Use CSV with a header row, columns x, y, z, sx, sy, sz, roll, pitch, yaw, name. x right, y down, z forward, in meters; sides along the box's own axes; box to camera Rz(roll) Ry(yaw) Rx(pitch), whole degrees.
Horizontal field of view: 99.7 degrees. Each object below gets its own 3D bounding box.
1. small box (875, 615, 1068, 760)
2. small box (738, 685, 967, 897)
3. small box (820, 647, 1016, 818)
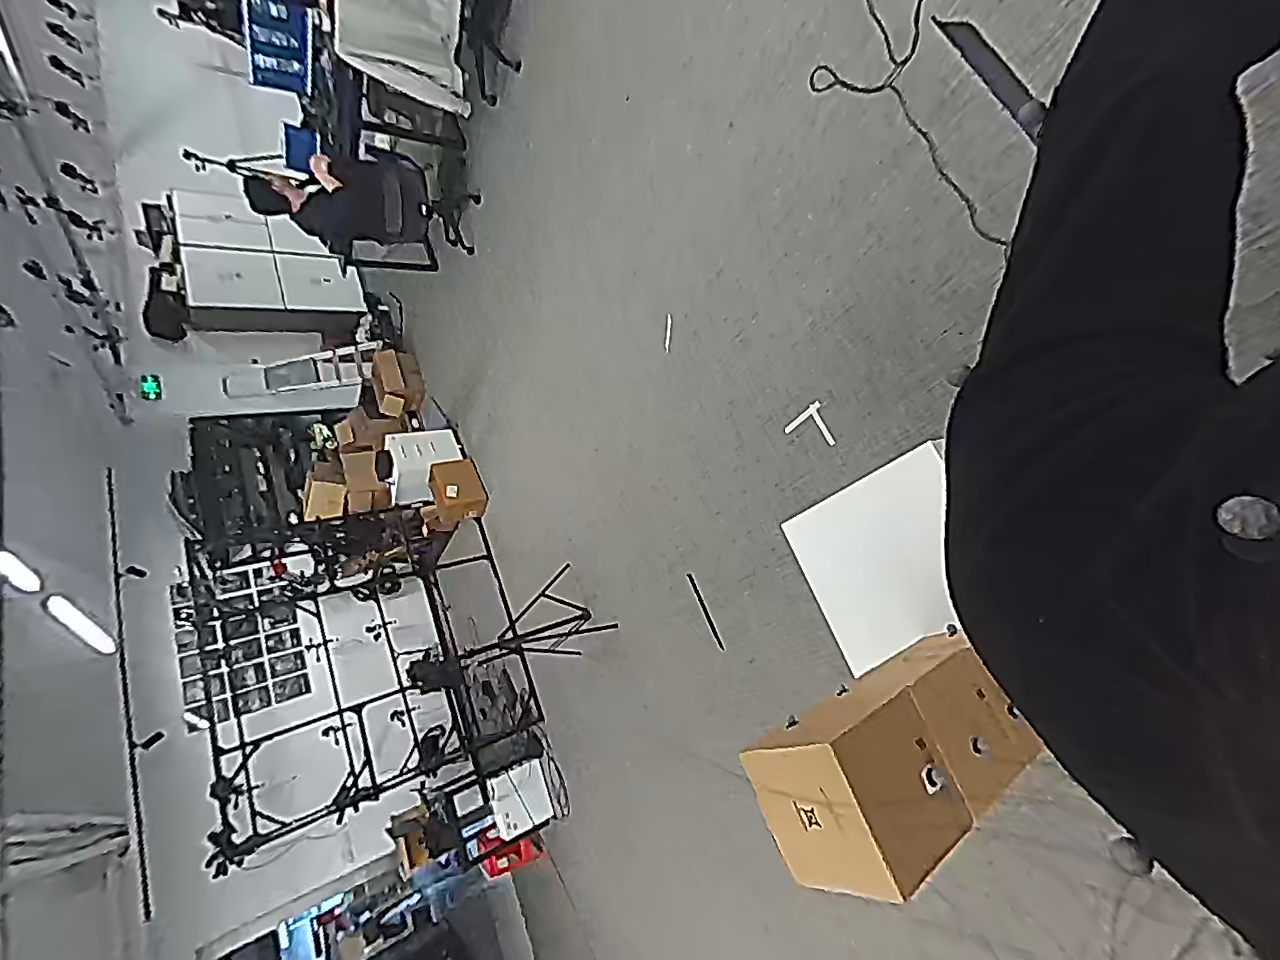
x,y,z,sx,sy,sz,roll,pitch,yaw,name
0.529,0.333,0.871,0.179,0.176,0.168,-44,63,52,small box
0.264,0.381,0.688,0.179,0.176,0.168,-45,63,50,small box
0.398,0.357,0.778,0.179,0.176,0.168,-45,62,51,small box
